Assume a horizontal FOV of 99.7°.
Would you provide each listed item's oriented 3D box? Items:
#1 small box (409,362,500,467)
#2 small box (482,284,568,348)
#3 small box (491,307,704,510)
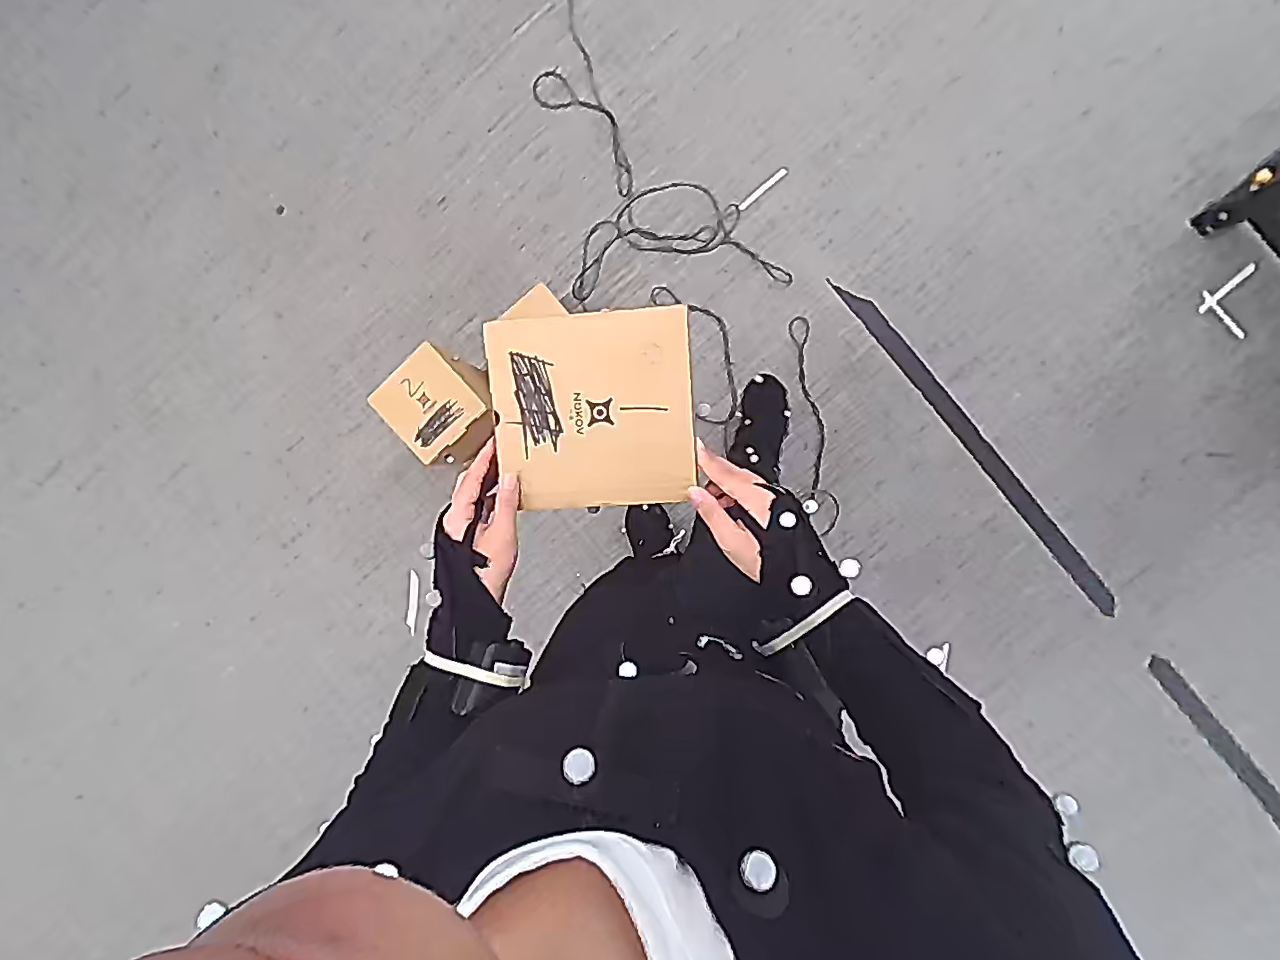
[{"bbox_3d":[-0.387,-0.145,1.256,0.179,0.176,0.168,43,94,0],"label":"small box"},{"bbox_3d":[-0.221,-0.309,1.236,0.179,0.176,0.168,-39,89,5],"label":"small box"},{"bbox_3d":[-0.028,-0.065,0.528,0.179,0.176,0.168,-2,97,5],"label":"small box"}]
